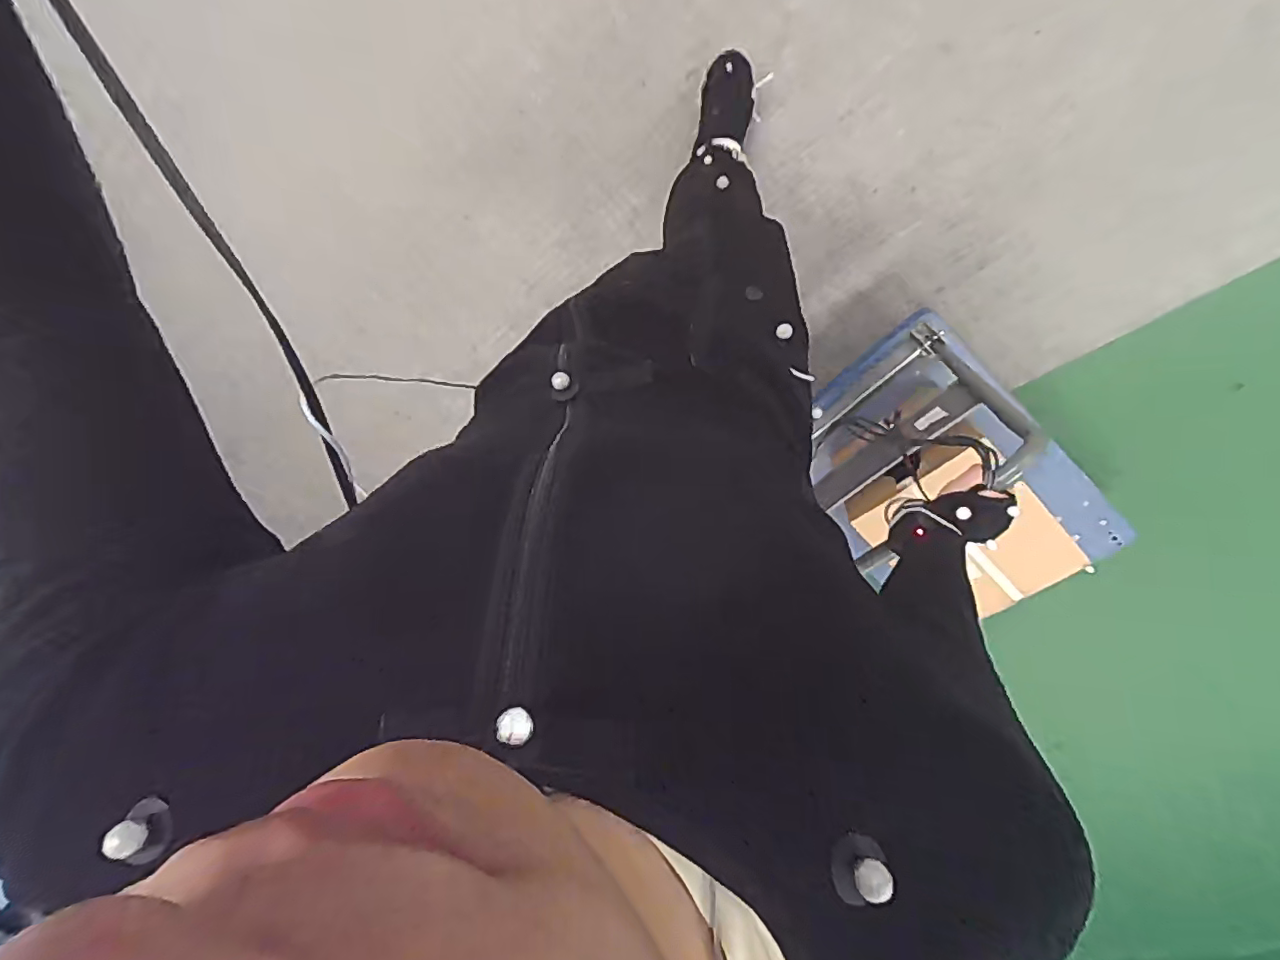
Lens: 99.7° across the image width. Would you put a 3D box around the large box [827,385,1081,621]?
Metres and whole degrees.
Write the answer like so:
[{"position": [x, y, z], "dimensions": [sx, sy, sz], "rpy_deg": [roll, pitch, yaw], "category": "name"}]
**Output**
[{"position": [0.716, 0.049, 1.297], "dimensions": [0.408, 0.320, 0.320], "rpy_deg": [42, 119, -15], "category": "large box"}]
